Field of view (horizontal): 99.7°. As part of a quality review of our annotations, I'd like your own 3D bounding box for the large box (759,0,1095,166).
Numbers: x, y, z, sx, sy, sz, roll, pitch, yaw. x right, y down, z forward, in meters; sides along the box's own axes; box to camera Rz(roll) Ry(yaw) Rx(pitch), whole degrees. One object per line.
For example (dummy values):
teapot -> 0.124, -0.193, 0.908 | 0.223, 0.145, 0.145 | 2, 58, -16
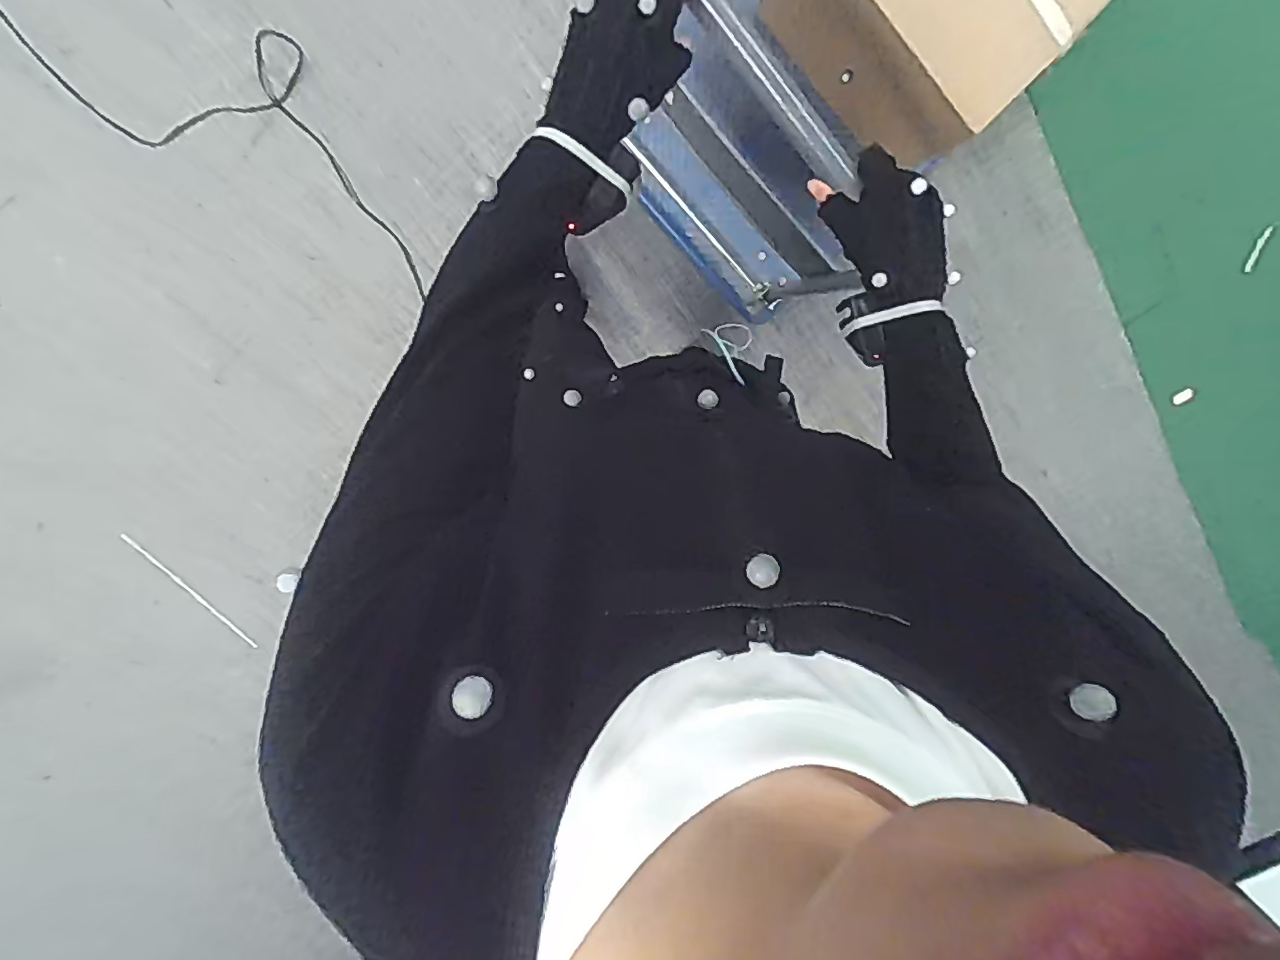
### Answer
large box -> 0.466, -0.816, 0.885 | 0.408, 0.320, 0.320 | 41, 103, -12
